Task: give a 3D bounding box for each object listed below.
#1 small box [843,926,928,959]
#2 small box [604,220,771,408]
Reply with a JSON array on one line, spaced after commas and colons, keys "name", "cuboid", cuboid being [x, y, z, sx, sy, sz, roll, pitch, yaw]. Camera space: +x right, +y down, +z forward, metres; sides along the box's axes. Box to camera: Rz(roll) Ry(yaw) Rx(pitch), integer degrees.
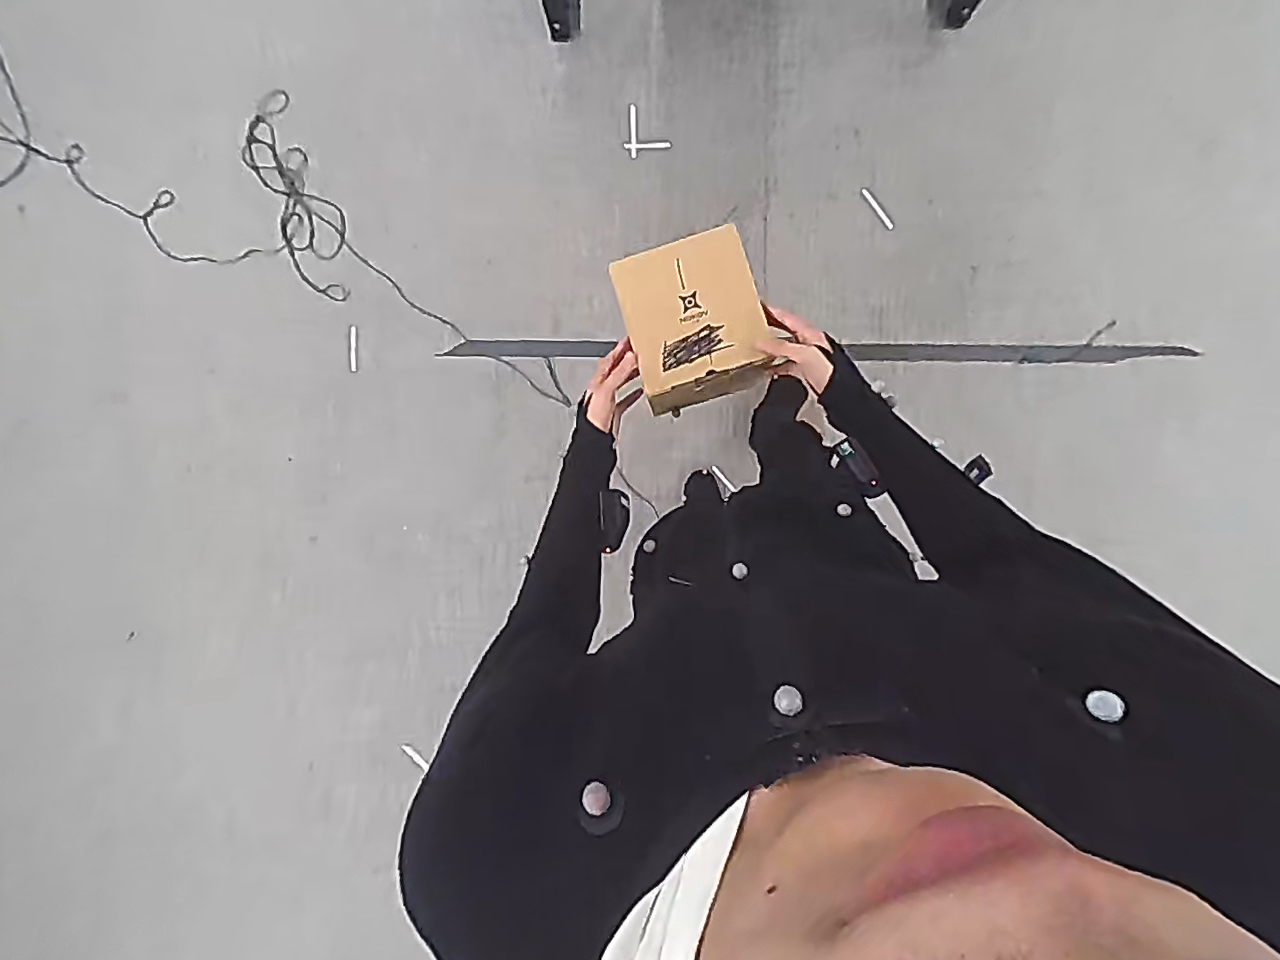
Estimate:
[{"name": "small box", "cuboid": [0.551, 1.114, 1.160, 0.168, 0.176, 0.179, -7, 92, 2]}, {"name": "small box", "cuboid": [0.064, -0.206, 0.732, 0.168, 0.176, 0.179, -18, 85, 4]}]
